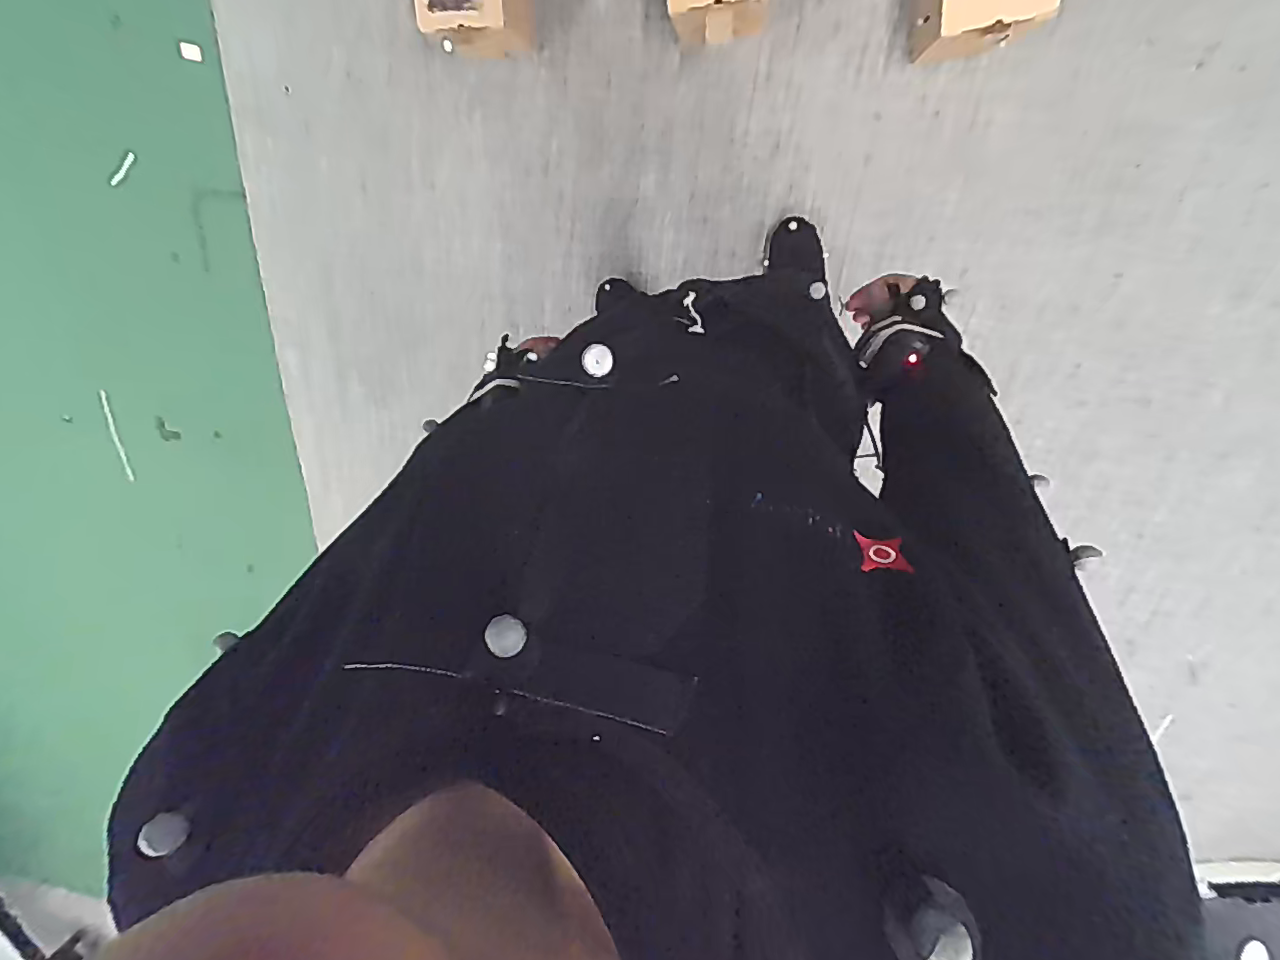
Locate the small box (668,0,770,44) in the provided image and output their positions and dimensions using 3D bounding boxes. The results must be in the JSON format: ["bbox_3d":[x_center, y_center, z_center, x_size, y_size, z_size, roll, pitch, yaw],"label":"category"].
[{"bbox_3d":[0.135,-0.875,0.909,0.168,0.176,0.179,1,115,11],"label":"small box"}]

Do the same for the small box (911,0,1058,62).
[{"bbox_3d":[0.545,-0.799,0.862,0.168,0.176,0.179,-3,113,11],"label":"small box"}]
